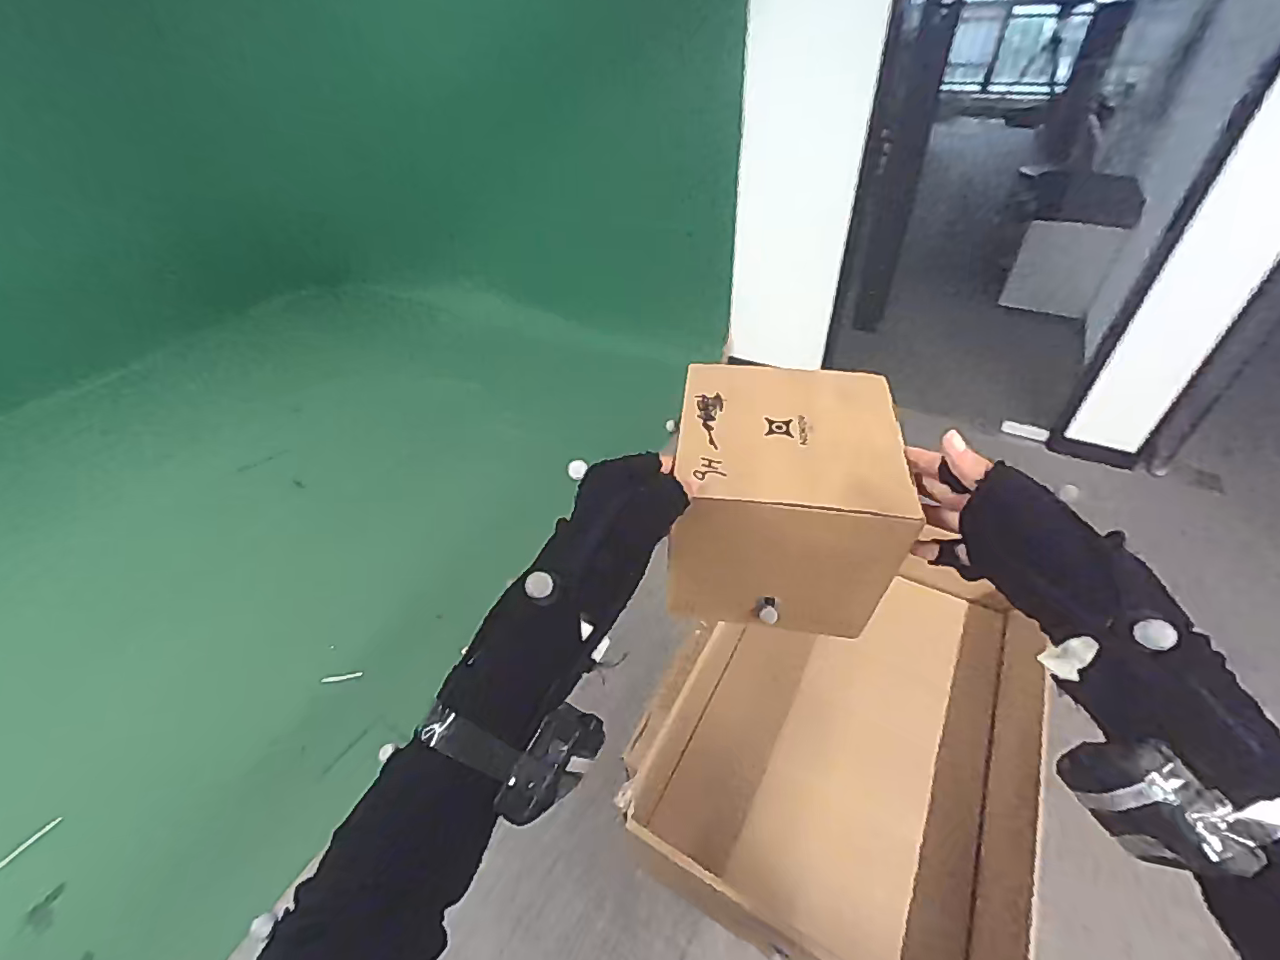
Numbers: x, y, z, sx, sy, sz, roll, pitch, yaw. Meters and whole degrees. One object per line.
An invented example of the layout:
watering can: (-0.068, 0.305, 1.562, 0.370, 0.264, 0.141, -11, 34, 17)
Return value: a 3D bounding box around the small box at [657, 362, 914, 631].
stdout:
small box: (0.112, 0.017, 0.485, 0.179, 0.176, 0.168, 6, 46, 6)
